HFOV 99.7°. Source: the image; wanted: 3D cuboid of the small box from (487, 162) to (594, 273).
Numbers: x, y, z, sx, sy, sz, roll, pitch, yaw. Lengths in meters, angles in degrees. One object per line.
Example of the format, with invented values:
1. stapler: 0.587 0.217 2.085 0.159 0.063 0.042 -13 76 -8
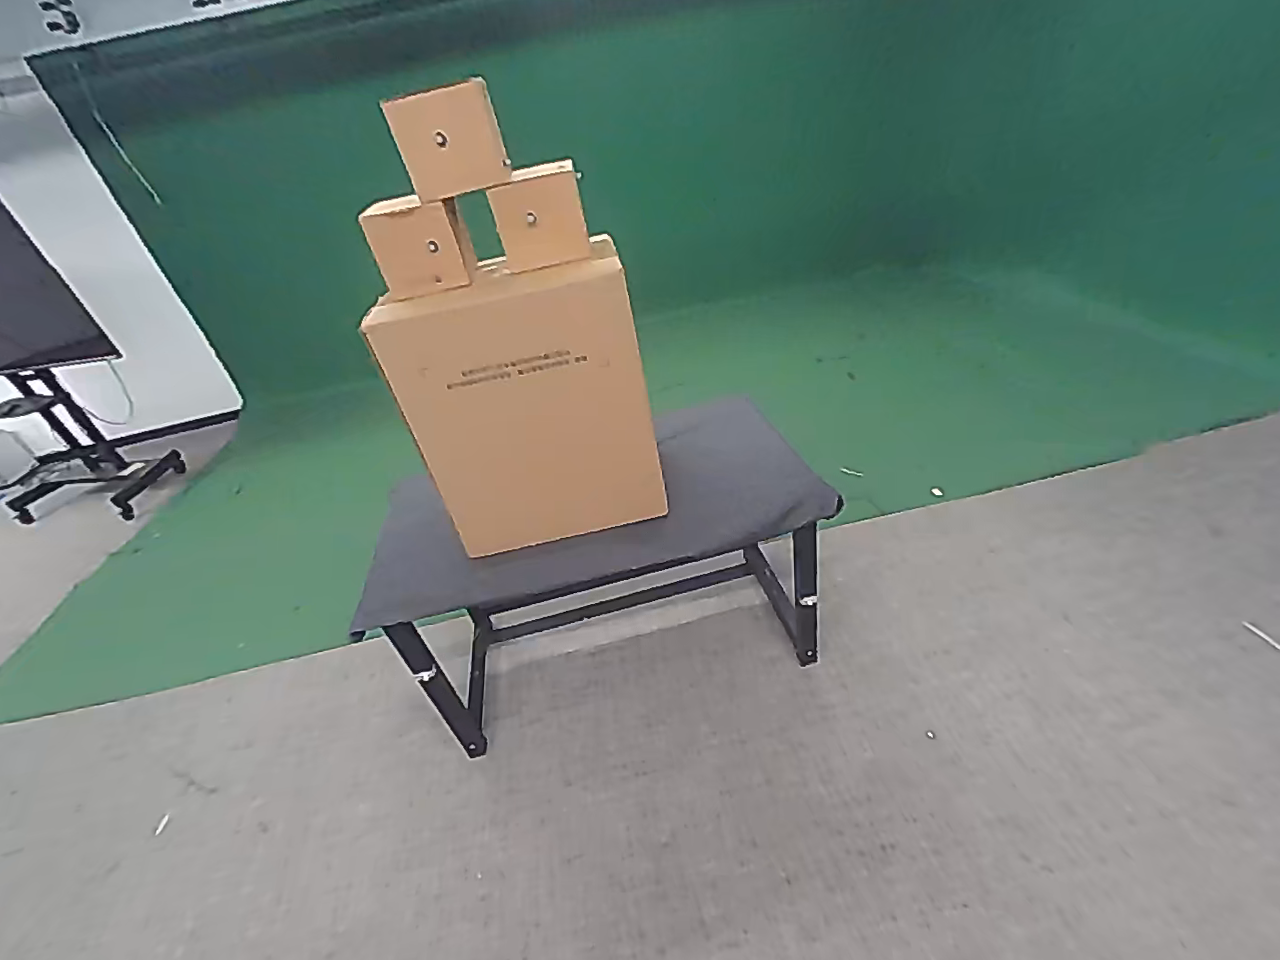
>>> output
1. small box: -0.206 -0.559 1.157 0.179 0.176 0.168 -13 37 1

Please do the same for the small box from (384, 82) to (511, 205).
1. small box: -0.362 -0.658 1.058 0.179 0.176 0.168 -15 37 0

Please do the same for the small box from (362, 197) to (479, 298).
1. small box: -0.456 -0.500 1.156 0.168 0.176 0.179 -12 35 -2
